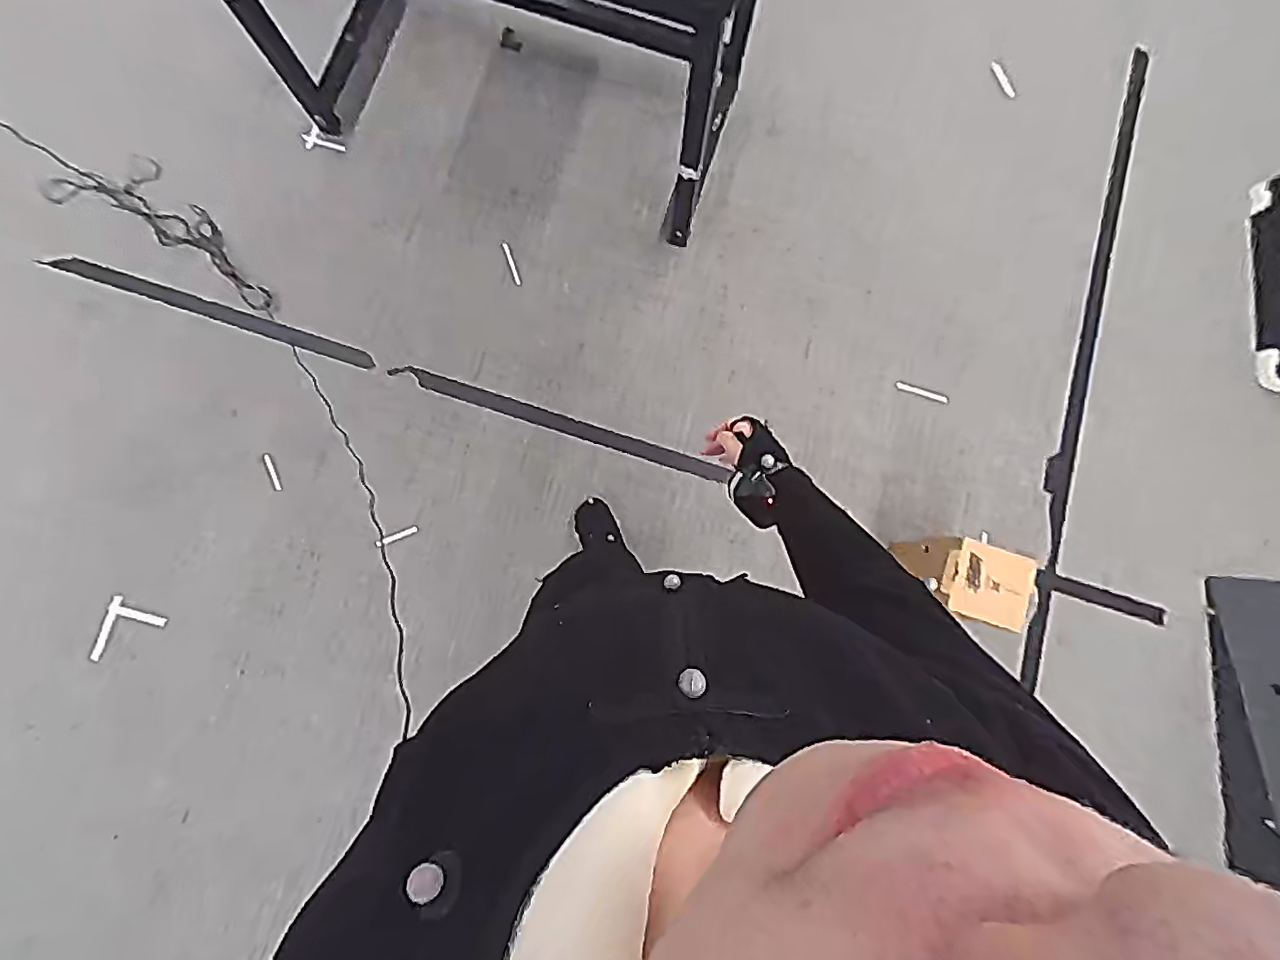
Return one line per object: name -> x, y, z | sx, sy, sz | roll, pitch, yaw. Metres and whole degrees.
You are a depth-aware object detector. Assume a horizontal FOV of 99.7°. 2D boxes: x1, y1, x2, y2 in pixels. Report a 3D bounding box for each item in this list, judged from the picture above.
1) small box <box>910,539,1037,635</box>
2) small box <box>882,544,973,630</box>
small box -> 0.765, 0.244, 1.259 | 0.179, 0.176, 0.168 | 19, 83, 0
small box -> 0.761, 0.275, 1.420 | 0.168, 0.176, 0.179 | 16, 82, 1
